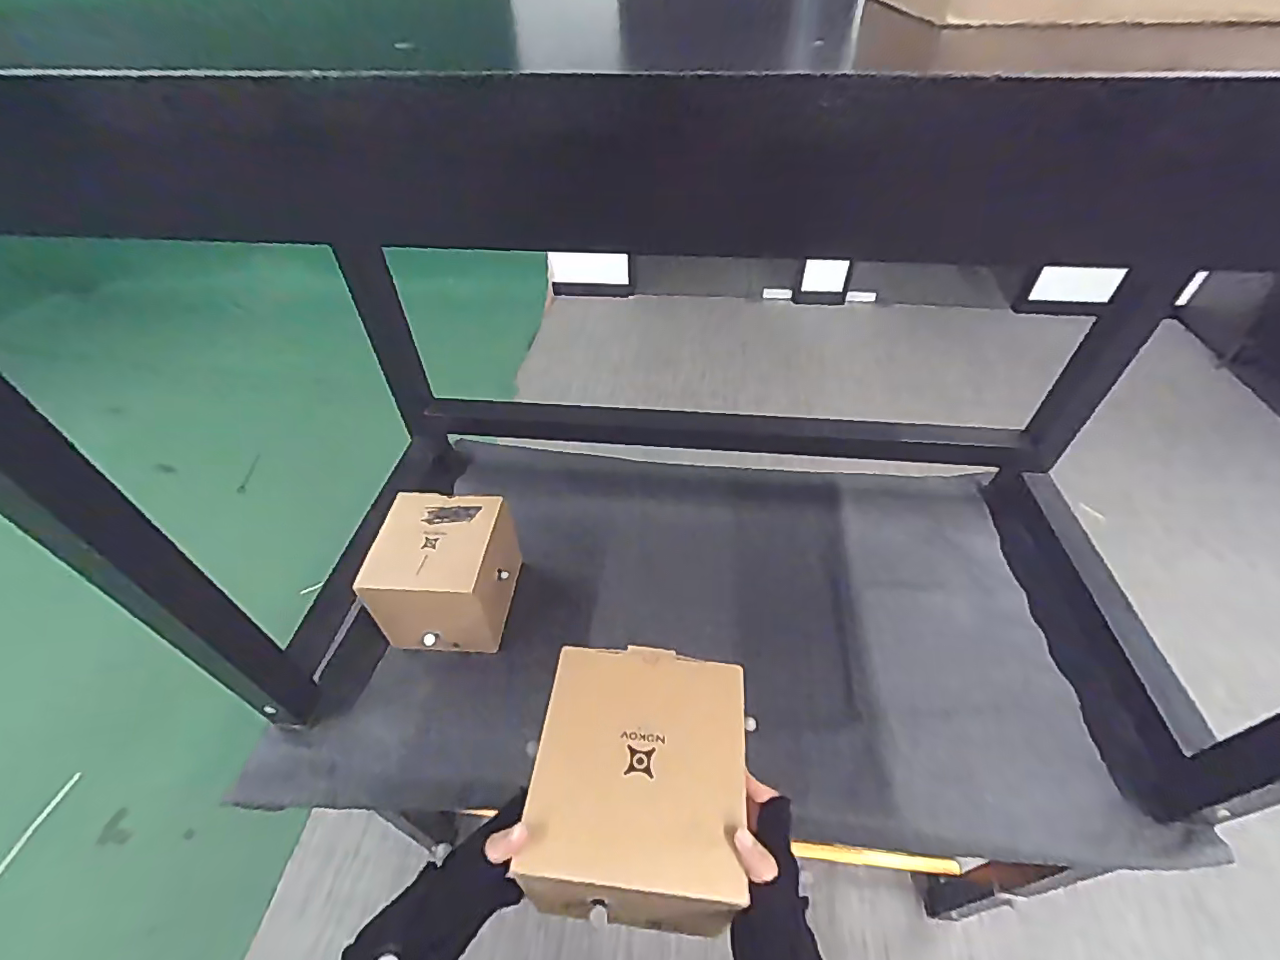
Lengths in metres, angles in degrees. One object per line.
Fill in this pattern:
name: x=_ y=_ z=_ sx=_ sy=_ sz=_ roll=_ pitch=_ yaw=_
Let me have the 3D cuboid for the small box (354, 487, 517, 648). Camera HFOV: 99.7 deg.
small box: x=-0.295 y=0.133 z=0.829 sx=0.168 sy=0.176 sz=0.179 roll=2 pitch=46 yaw=3

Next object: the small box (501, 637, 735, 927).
small box: x=-0.007 y=0.268 z=0.482 sx=0.168 sy=0.176 sz=0.179 roll=5 pitch=42 yaw=4
